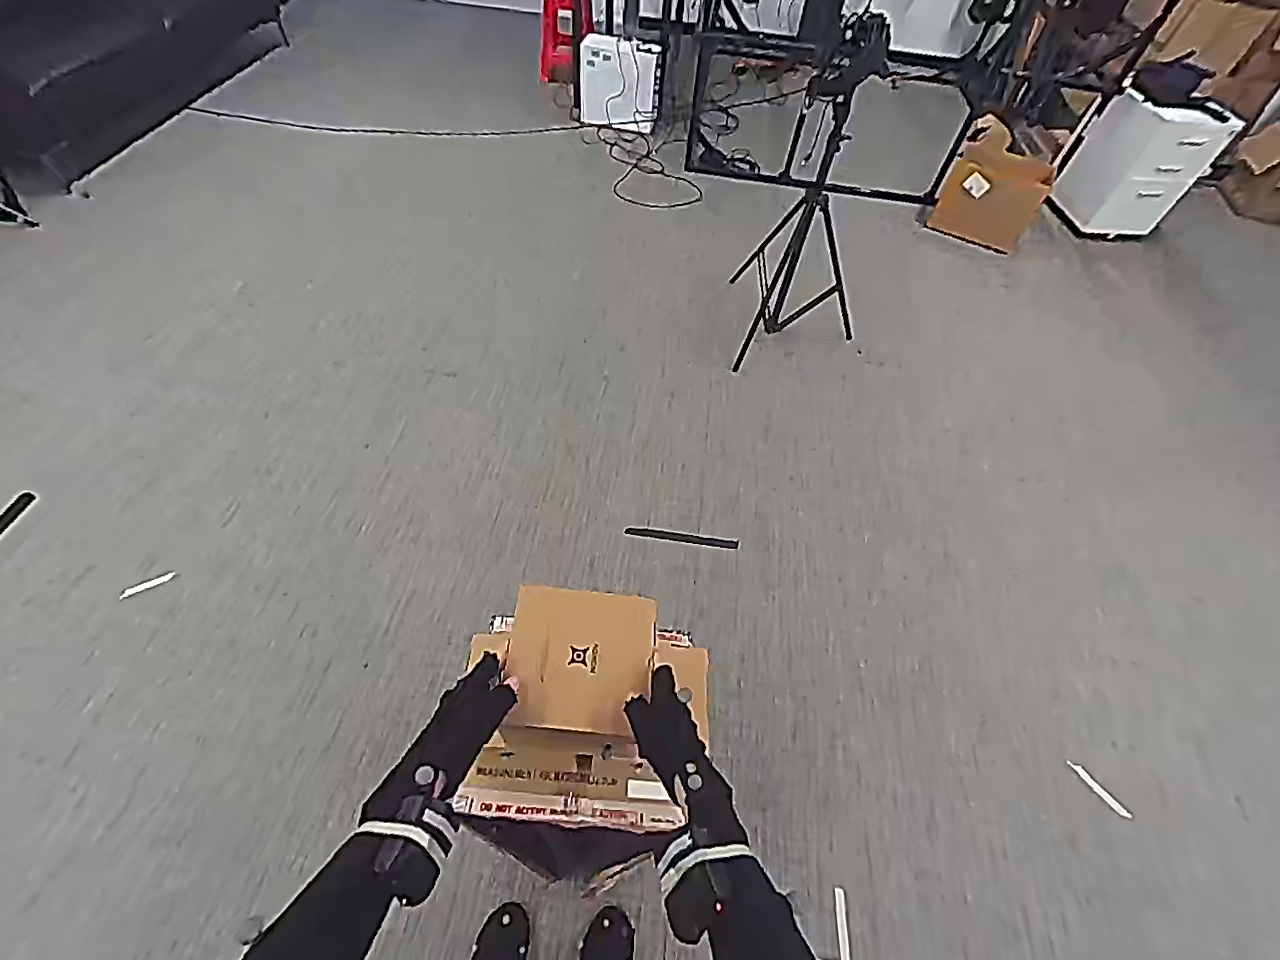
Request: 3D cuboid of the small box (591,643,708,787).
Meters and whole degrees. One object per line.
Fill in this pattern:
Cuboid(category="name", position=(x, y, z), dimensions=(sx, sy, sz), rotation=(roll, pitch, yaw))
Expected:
Cuboid(category="small box", position=(0.013, 0.377, 0.875), dimensions=(0.168, 0.176, 0.179), rotation=(7, 52, -2))

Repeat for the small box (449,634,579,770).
Cuboid(category="small box", position=(-0.184, 0.360, 0.869), dimensions=(0.179, 0.176, 0.168), rotation=(3, 53, -2))

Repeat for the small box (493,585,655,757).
Cuboid(category="small box", position=(-0.080, 0.254, 0.702), dimensions=(0.179, 0.176, 0.168), rotation=(6, 54, -4))
